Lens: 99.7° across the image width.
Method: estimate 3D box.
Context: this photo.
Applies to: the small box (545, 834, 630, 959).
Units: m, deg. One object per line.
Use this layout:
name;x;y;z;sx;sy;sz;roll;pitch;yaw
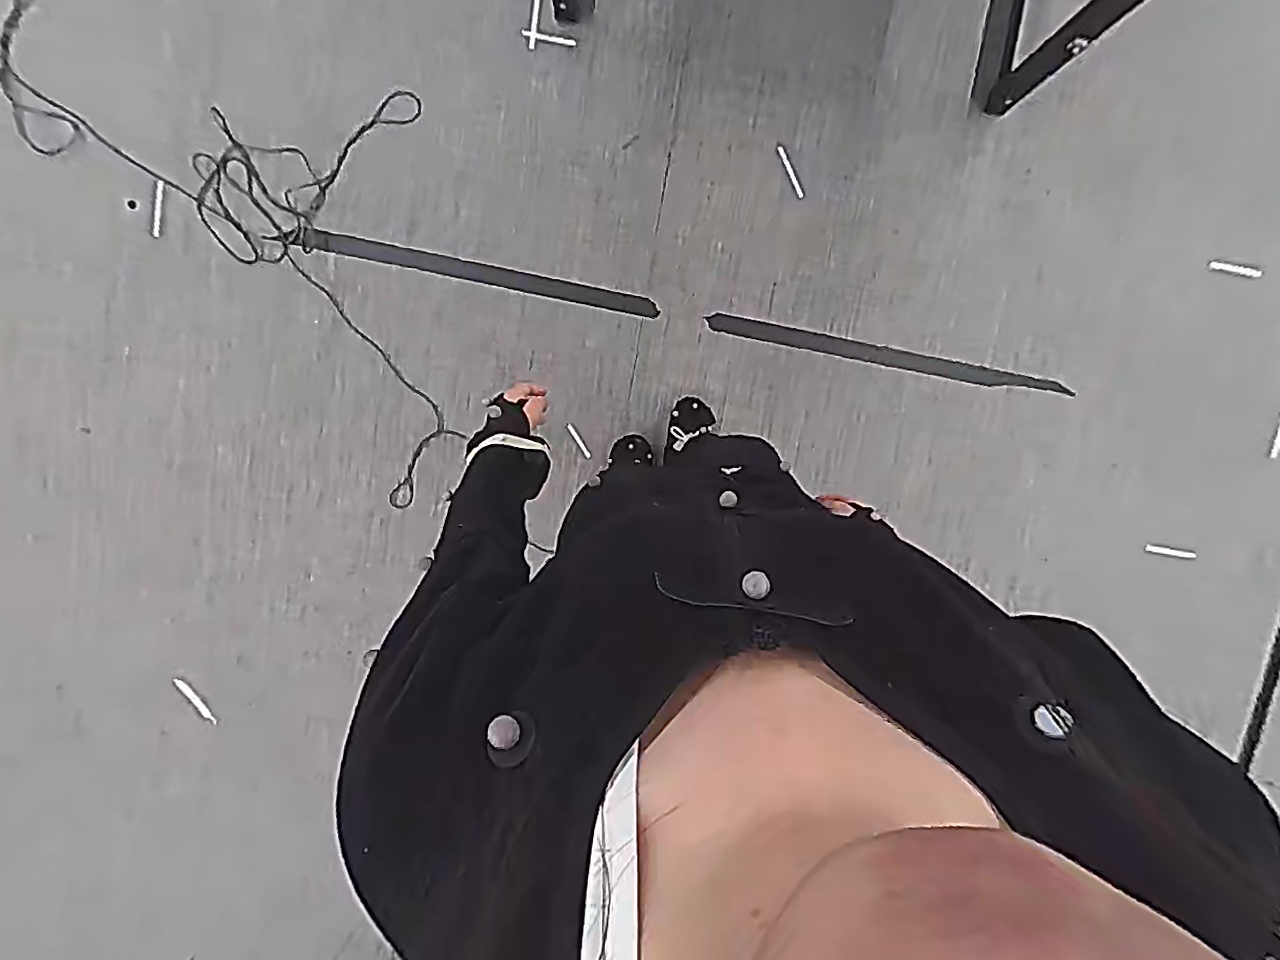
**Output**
small box;-0.113;0.947;1.220;0.168;0.176;0.179;7;96;-3
